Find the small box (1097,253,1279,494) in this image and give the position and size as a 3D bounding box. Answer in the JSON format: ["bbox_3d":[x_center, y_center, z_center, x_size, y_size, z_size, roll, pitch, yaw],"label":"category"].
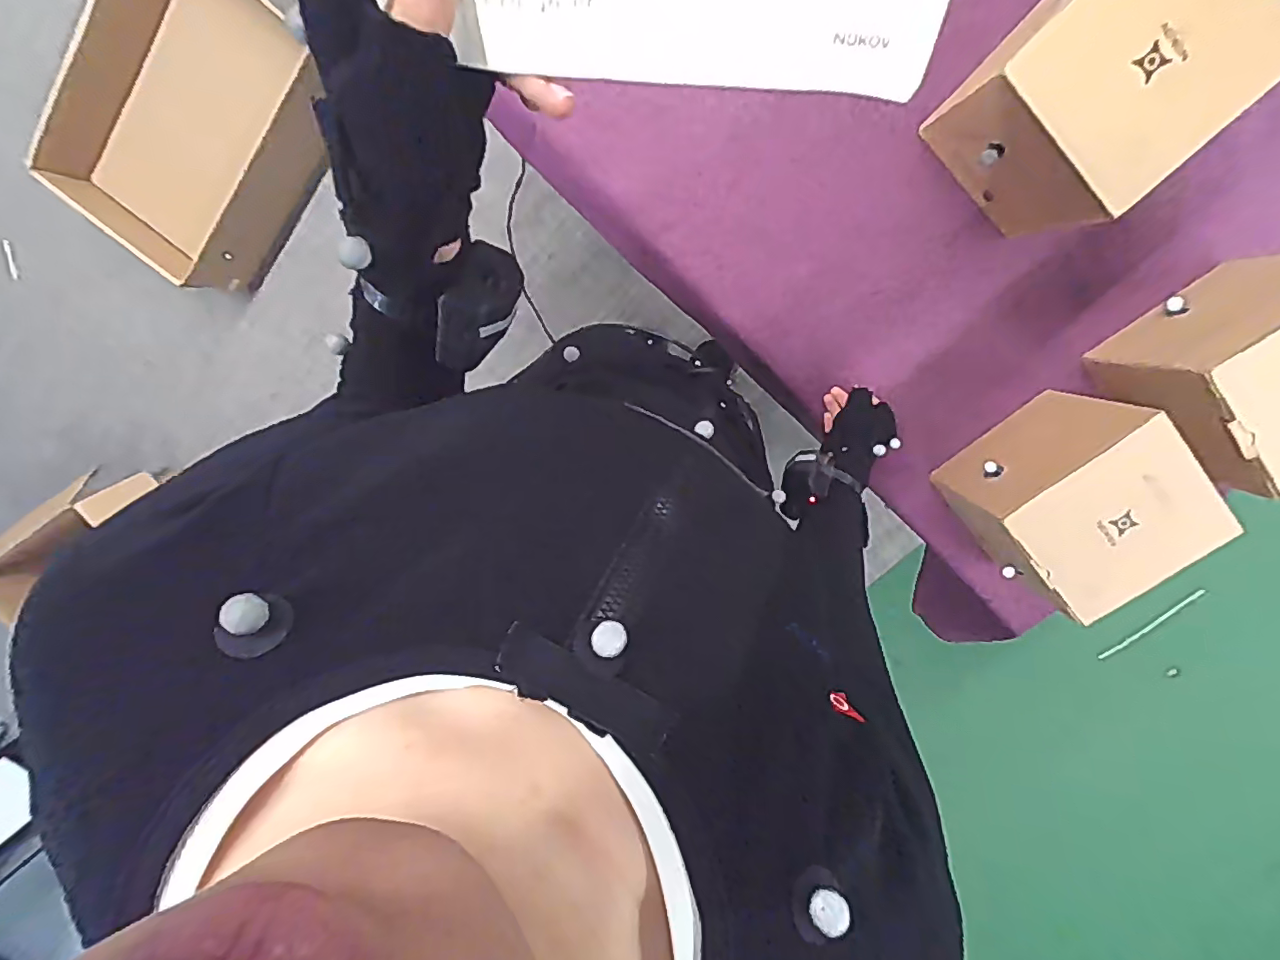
[{"bbox_3d":[0.642,-0.118,0.571,0.179,0.176,0.168,-37,102,14],"label":"small box"}]

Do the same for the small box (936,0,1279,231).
[{"bbox_3d":[0.417,-0.366,0.509,0.168,0.176,0.179,43,104,-9],"label":"small box"}]
